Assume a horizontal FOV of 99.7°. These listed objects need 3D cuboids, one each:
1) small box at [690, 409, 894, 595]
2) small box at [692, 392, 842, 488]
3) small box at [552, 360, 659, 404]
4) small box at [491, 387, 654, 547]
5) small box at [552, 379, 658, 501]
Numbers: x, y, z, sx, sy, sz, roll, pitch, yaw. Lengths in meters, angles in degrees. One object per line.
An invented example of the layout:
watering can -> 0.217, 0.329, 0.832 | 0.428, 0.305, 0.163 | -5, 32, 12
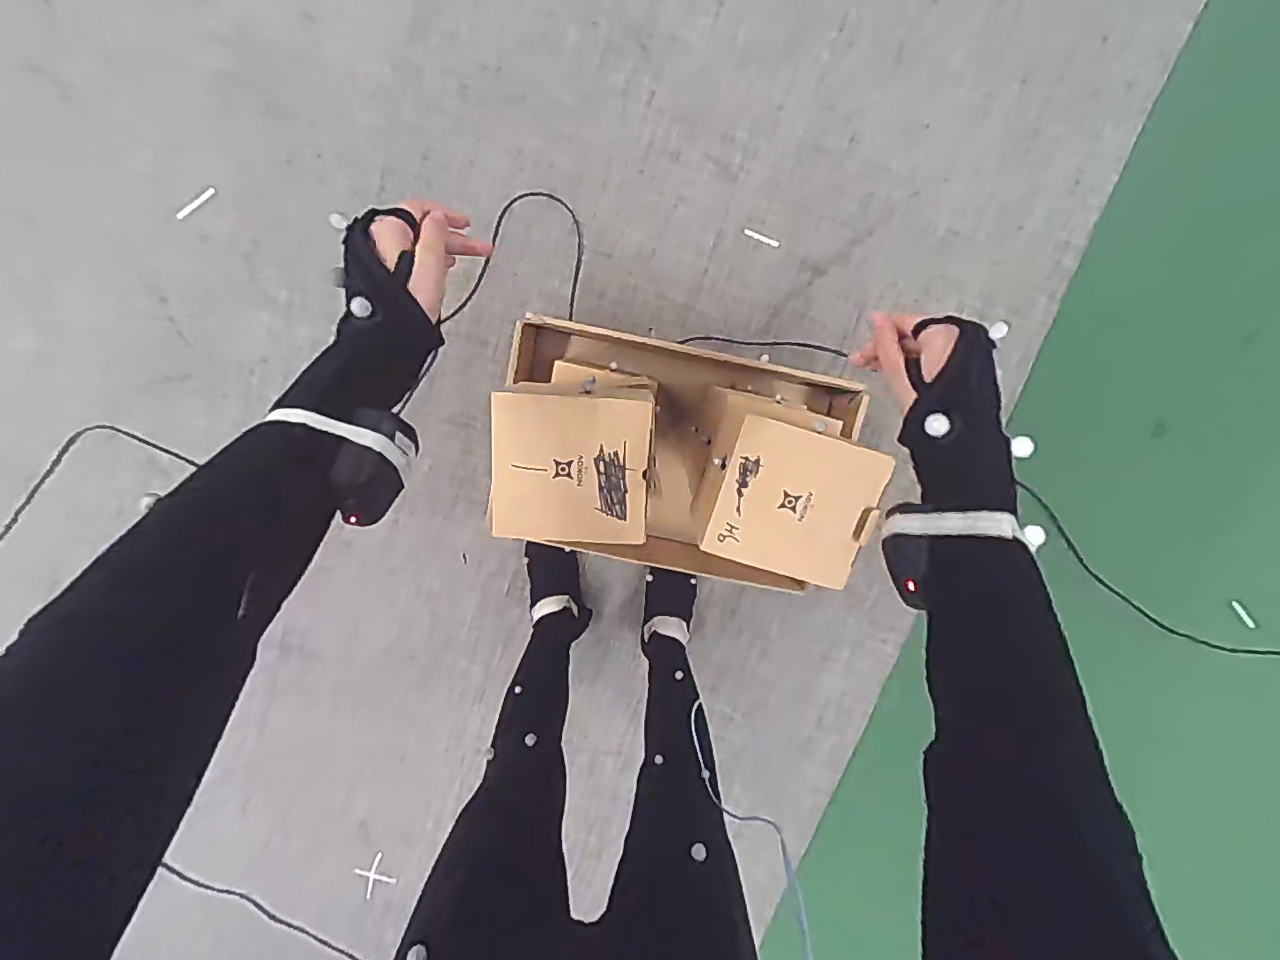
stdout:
small box -> 0.172, 0.016, 0.678 | 0.179, 0.176, 0.168 | 17, 102, -3
small box -> 0.181, -0.032, 0.836 | 0.168, 0.176, 0.179 | 14, 103, -1
small box -> -0.072, -0.118, 0.989 | 0.179, 0.176, 0.168 | 12, 103, -4
small box -> -0.078, -0.026, 0.675 | 0.179, 0.176, 0.168 | 4, 103, -1
small box -> -0.067, -0.064, 0.835 | 0.179, 0.176, 0.168 | -4, 104, 1
